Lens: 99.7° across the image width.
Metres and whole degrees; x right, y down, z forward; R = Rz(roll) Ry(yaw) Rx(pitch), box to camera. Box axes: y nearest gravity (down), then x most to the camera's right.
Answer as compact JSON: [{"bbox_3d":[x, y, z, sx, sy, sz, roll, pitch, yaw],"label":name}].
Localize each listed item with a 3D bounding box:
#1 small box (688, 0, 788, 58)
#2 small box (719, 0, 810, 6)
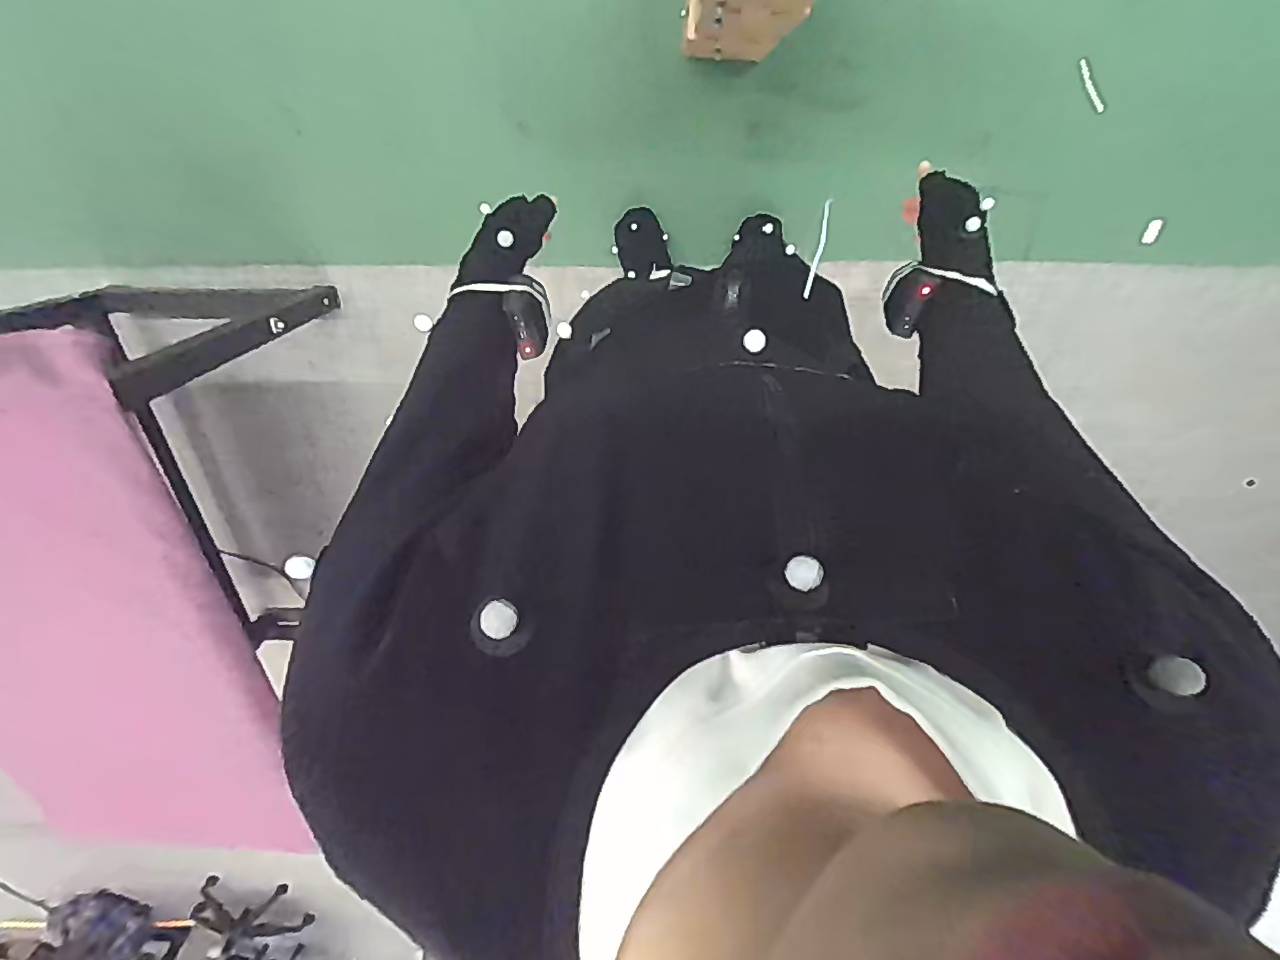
[{"bbox_3d":[0.179,-0.898,0.987,0.168,0.176,0.179,3,121,0],"label":"small box"},{"bbox_3d":[0.174,-0.743,0.697,0.168,0.176,0.179,2,120,0],"label":"small box"}]
